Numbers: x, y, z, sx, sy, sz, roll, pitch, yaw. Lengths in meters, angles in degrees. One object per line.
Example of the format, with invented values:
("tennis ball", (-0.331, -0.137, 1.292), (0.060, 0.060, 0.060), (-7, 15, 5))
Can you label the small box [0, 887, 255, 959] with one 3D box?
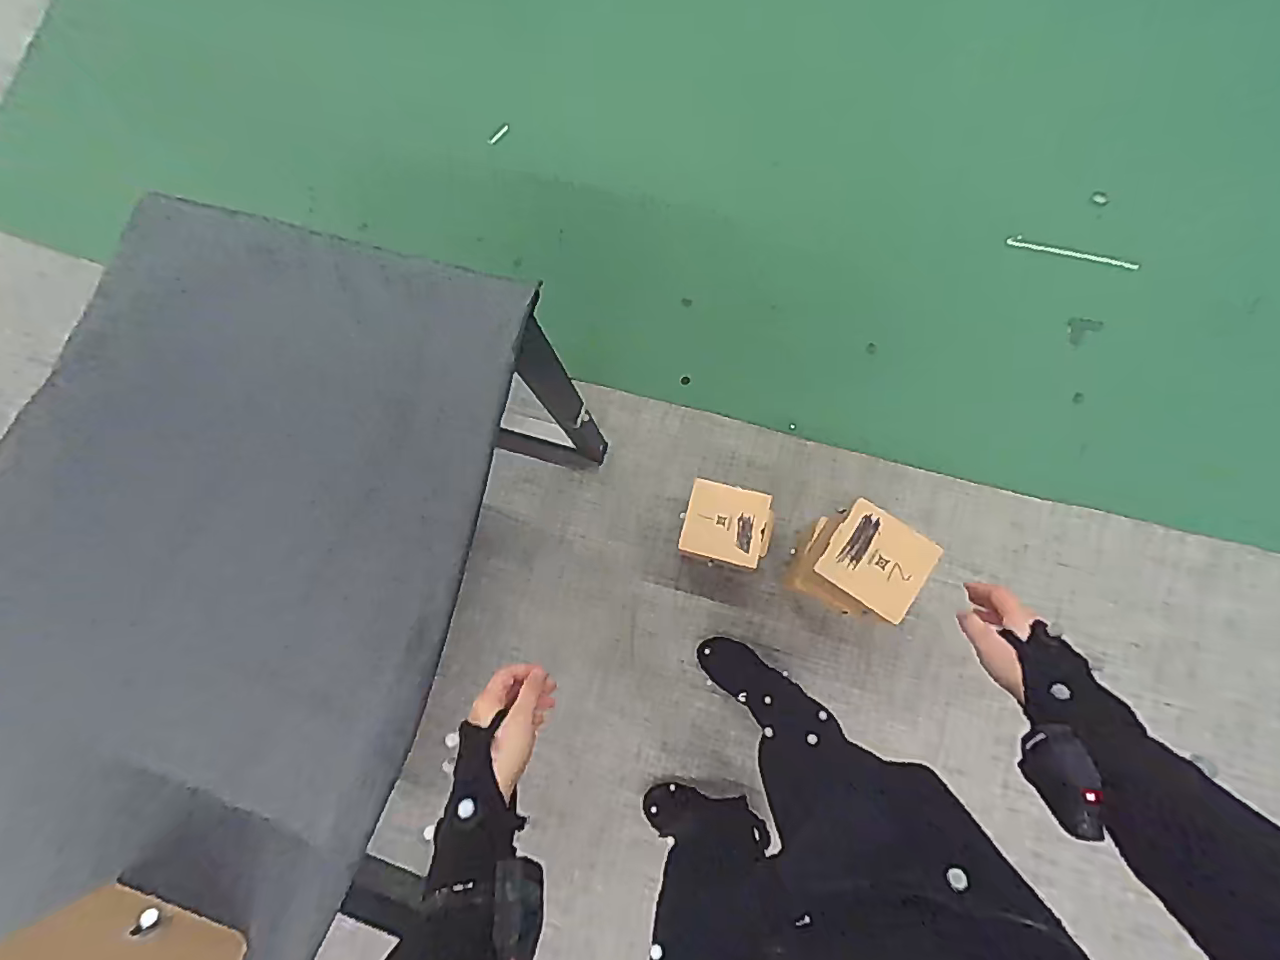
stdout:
("small box", (-0.512, 0.516, 0.490), (0.179, 0.176, 0.168), (14, 80, 8))

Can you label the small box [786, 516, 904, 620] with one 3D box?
("small box", (0.448, 0.195, 1.207), (0.179, 0.176, 0.168), (24, 82, 10))

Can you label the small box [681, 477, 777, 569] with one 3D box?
("small box", (0.202, 0.104, 1.249), (0.179, 0.176, 0.168), (14, 80, 9))
